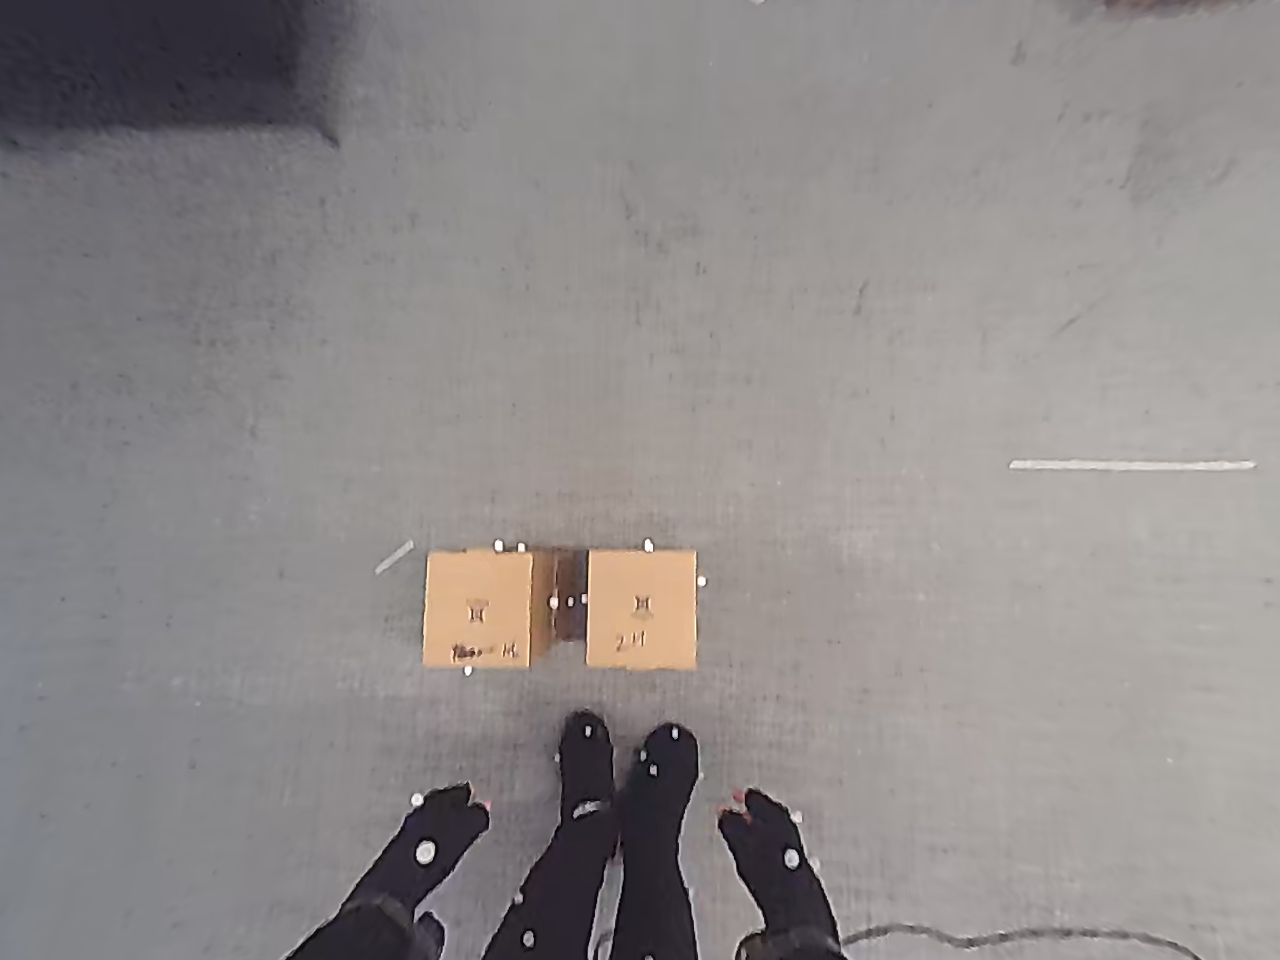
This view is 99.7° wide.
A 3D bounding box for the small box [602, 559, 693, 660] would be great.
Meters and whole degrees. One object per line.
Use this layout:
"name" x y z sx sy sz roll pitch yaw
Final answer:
"small box" 0.018 0.246 1.059 0.168 0.176 0.179 0 81 2
